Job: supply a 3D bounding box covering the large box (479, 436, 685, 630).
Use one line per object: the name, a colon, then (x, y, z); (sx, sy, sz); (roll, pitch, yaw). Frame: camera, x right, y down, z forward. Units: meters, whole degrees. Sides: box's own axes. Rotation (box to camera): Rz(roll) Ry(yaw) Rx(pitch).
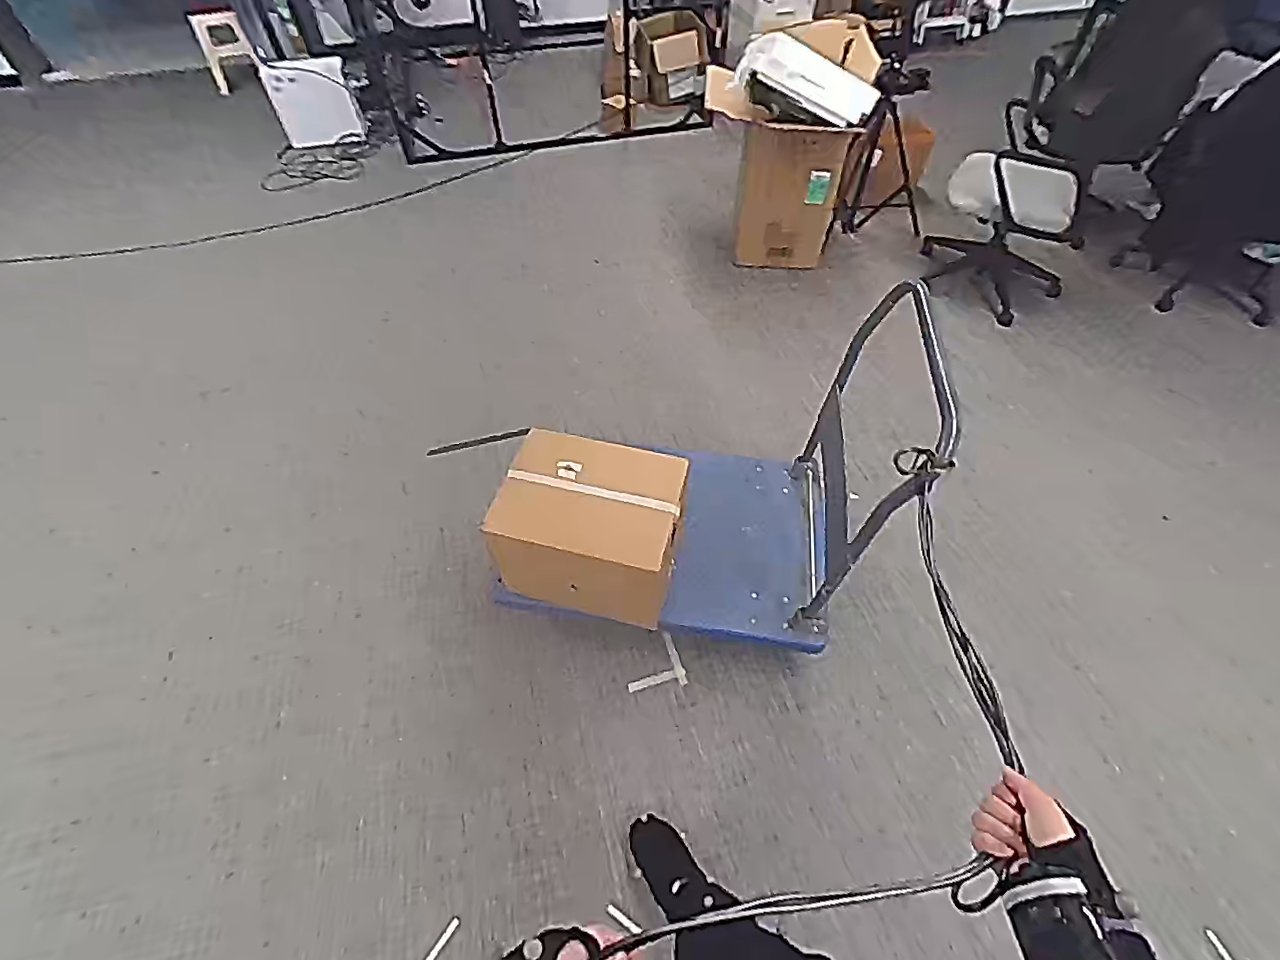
large box: (-0.116, 0.134, 1.332); (0.408, 0.320, 0.320); (11, 52, 10)
